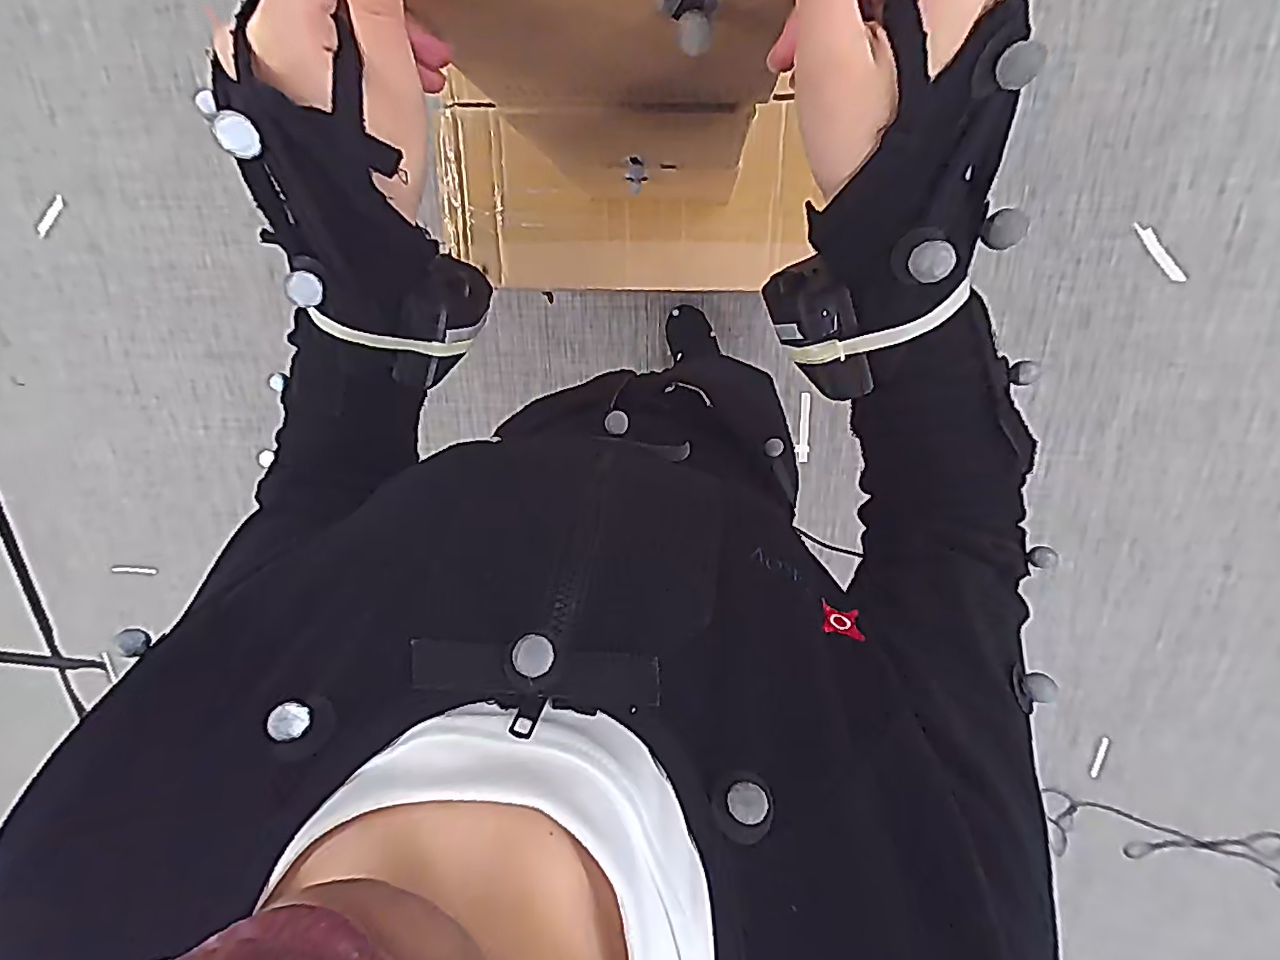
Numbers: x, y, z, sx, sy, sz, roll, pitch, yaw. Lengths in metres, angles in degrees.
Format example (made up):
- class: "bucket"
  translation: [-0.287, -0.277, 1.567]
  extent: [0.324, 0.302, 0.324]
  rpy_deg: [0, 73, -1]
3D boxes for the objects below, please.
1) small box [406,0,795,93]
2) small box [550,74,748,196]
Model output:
- class: "small box"
  translation: [-0.012, -0.289, 0.229]
  extent: [0.179, 0.176, 0.168]
  rpy_deg: [3, 109, 5]
- class: "small box"
  translation: [0.016, -0.390, 0.541]
  extent: [0.179, 0.176, 0.168]
  rpy_deg: [4, 109, 5]
